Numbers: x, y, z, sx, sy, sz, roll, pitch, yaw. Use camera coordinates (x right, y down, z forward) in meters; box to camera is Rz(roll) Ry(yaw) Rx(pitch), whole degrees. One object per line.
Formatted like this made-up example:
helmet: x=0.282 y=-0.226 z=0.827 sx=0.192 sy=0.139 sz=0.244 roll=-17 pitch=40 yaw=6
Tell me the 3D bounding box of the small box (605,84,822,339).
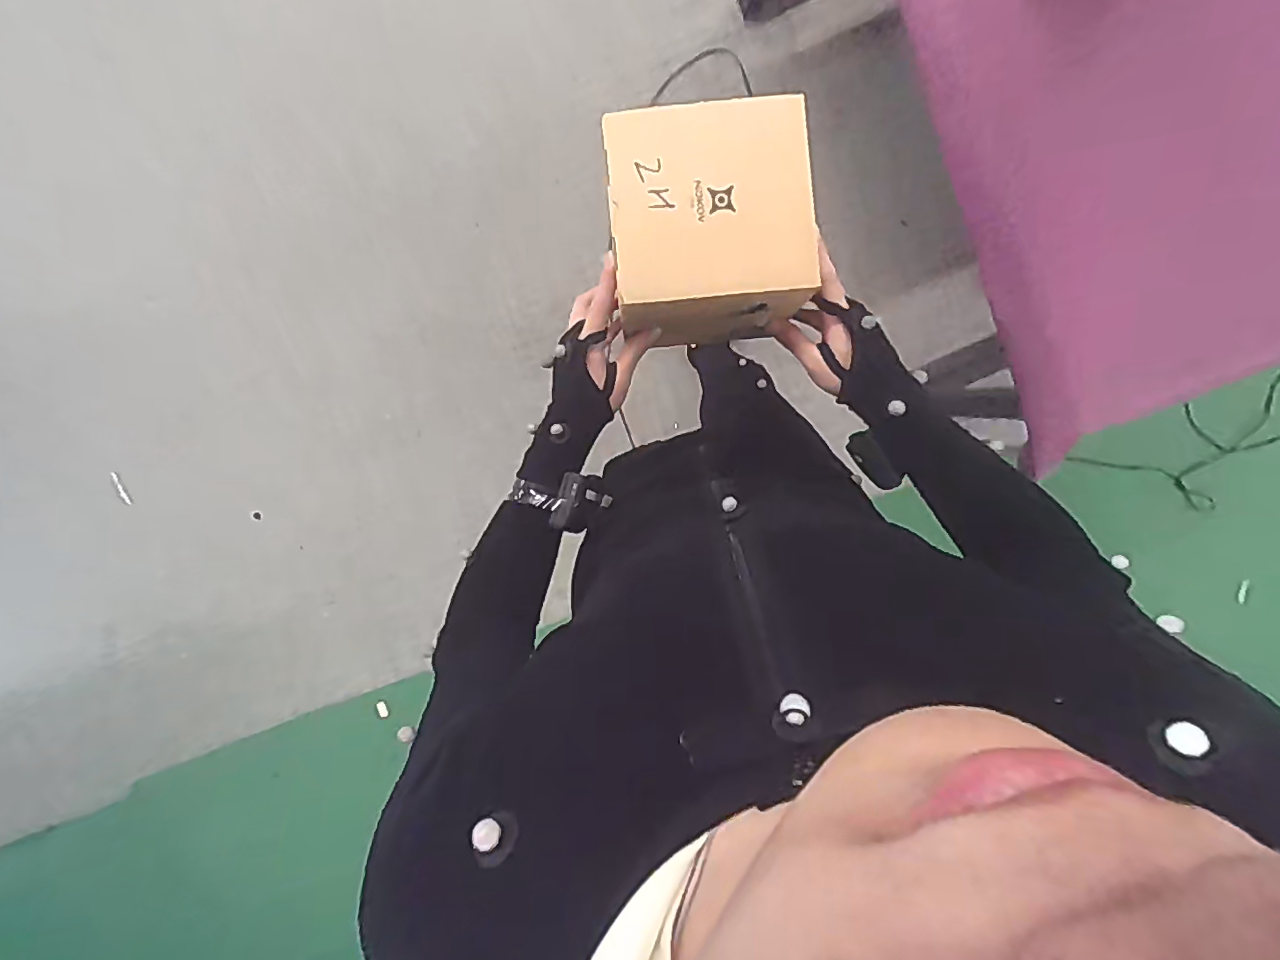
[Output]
small box: x=0.062 y=-0.245 z=0.535 sx=0.179 sy=0.176 sz=0.168 roll=-5 pitch=90 yaw=1
